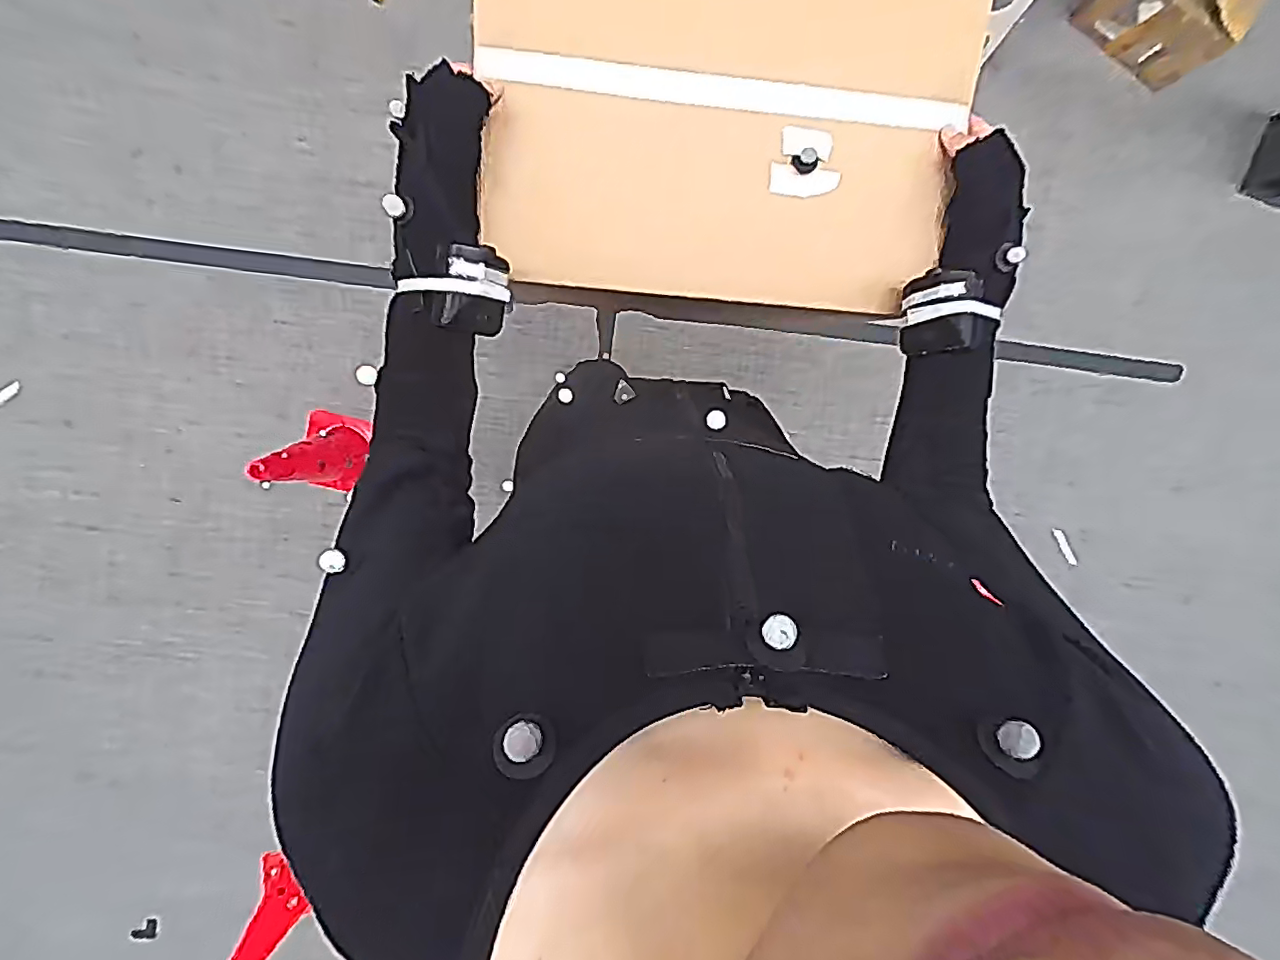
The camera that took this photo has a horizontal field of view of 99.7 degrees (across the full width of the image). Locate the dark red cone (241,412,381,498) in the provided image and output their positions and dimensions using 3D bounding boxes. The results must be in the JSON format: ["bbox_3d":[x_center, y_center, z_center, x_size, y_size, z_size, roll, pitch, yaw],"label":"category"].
[{"bbox_3d":[-0.768,-0.041,1.236,0.201,0.394,0.202,12,98,-5],"label":"dark red cone"}]

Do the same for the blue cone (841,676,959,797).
[{"bbox_3d":[0.712,0.702,1.452,0.192,0.380,0.193,10,98,-5],"label":"blue cone"}]

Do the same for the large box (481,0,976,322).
[{"bbox_3d":[0.058,-0.350,0.589,0.408,0.320,0.320,3,104,-6],"label":"large box"}]

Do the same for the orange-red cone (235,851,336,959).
[{"bbox_3d":[-1.000,1.223,1.438,0.198,0.360,0.199,4,100,-2],"label":"orange-red cone"}]
